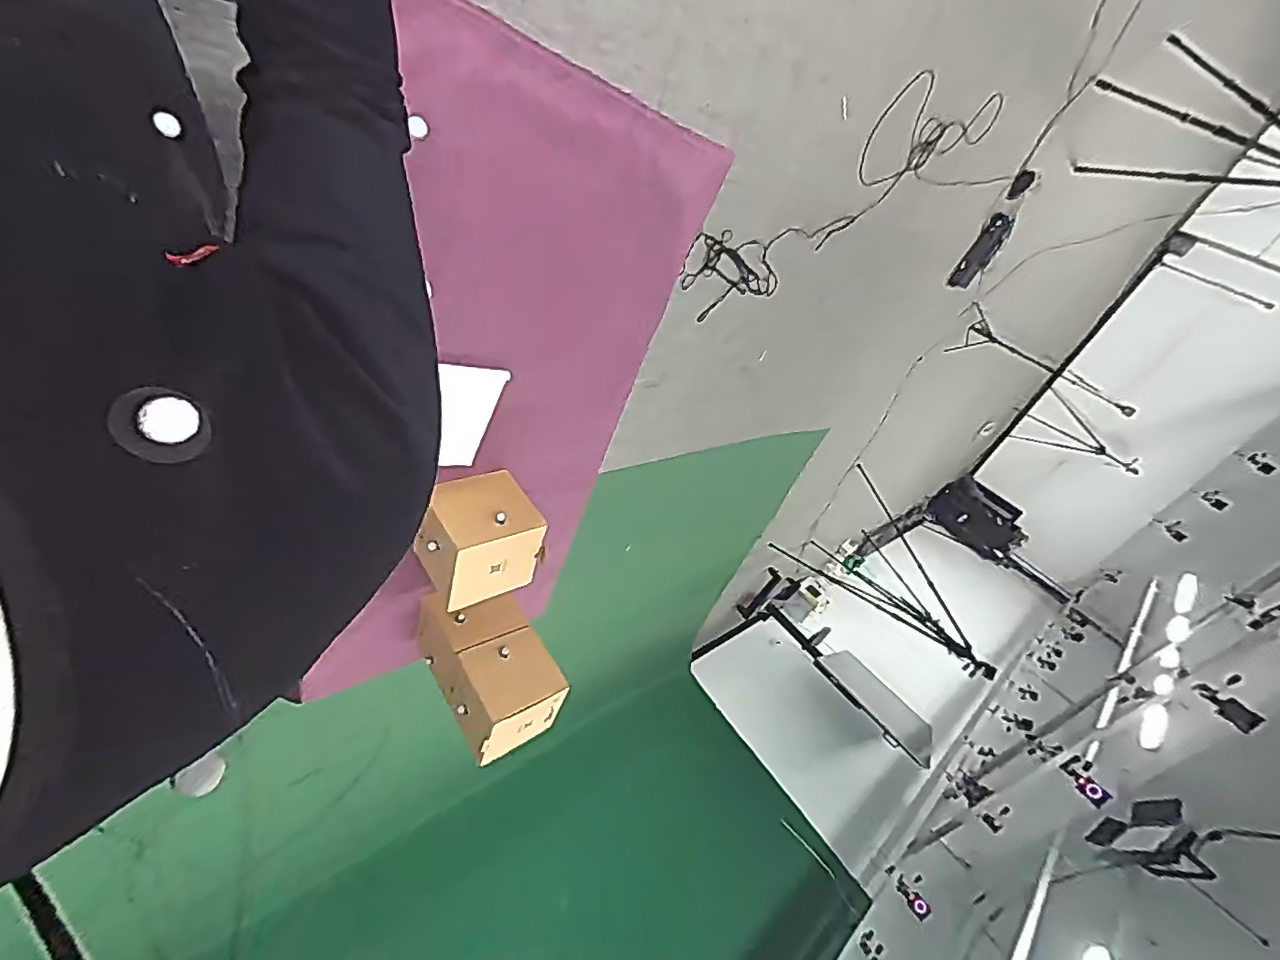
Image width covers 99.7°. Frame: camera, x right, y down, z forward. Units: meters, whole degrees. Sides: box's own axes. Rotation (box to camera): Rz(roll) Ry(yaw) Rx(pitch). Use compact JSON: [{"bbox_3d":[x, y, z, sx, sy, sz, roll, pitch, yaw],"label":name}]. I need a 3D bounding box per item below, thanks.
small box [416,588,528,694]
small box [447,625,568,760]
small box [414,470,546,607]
[{"bbox_3d":[-0.385,0.339,1.222,0.179,0.176,0.168,-12,138,-43],"label":"small box"},{"bbox_3d":[-0.286,0.438,1.136,0.179,0.176,0.168,-11,138,-42],"label":"small box"},{"bbox_3d":[-0.309,0.102,1.020,0.179,0.176,0.168,-15,139,-41],"label":"small box"}]
